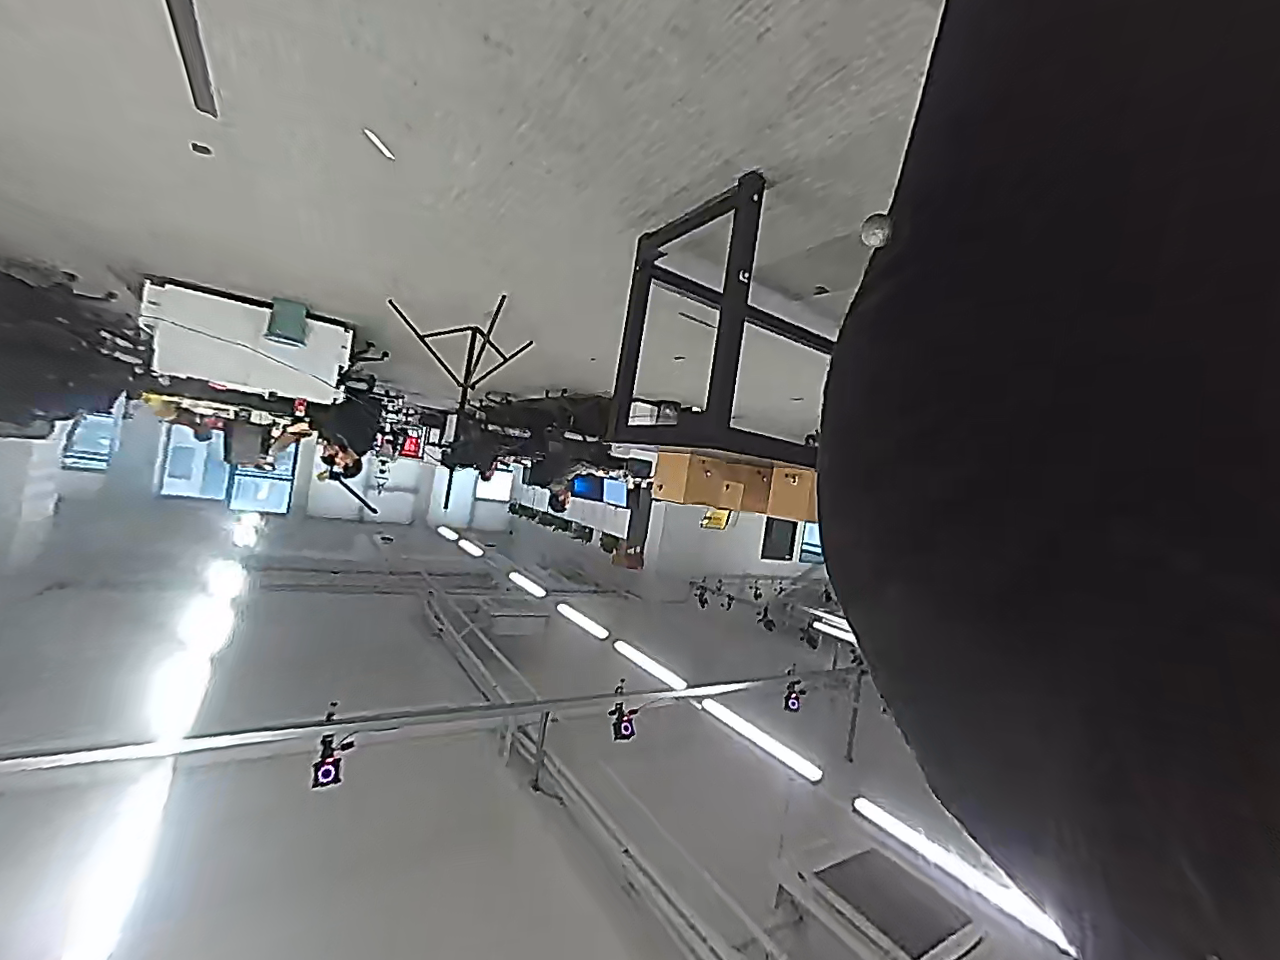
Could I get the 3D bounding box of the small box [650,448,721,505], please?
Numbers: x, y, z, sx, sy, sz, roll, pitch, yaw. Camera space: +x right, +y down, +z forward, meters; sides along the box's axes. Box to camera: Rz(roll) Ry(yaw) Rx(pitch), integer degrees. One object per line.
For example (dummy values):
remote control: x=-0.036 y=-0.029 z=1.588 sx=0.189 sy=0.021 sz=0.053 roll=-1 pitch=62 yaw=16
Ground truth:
small box: x=0.159 y=-0.016 z=1.847 sx=0.168 sy=0.176 sz=0.179 roll=8 pitch=-179 yaw=-35

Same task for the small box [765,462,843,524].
small box: x=0.536 y=0.040 z=1.756 sx=0.179 sy=0.176 sz=0.168 roll=10 pitch=179 yaw=-32
